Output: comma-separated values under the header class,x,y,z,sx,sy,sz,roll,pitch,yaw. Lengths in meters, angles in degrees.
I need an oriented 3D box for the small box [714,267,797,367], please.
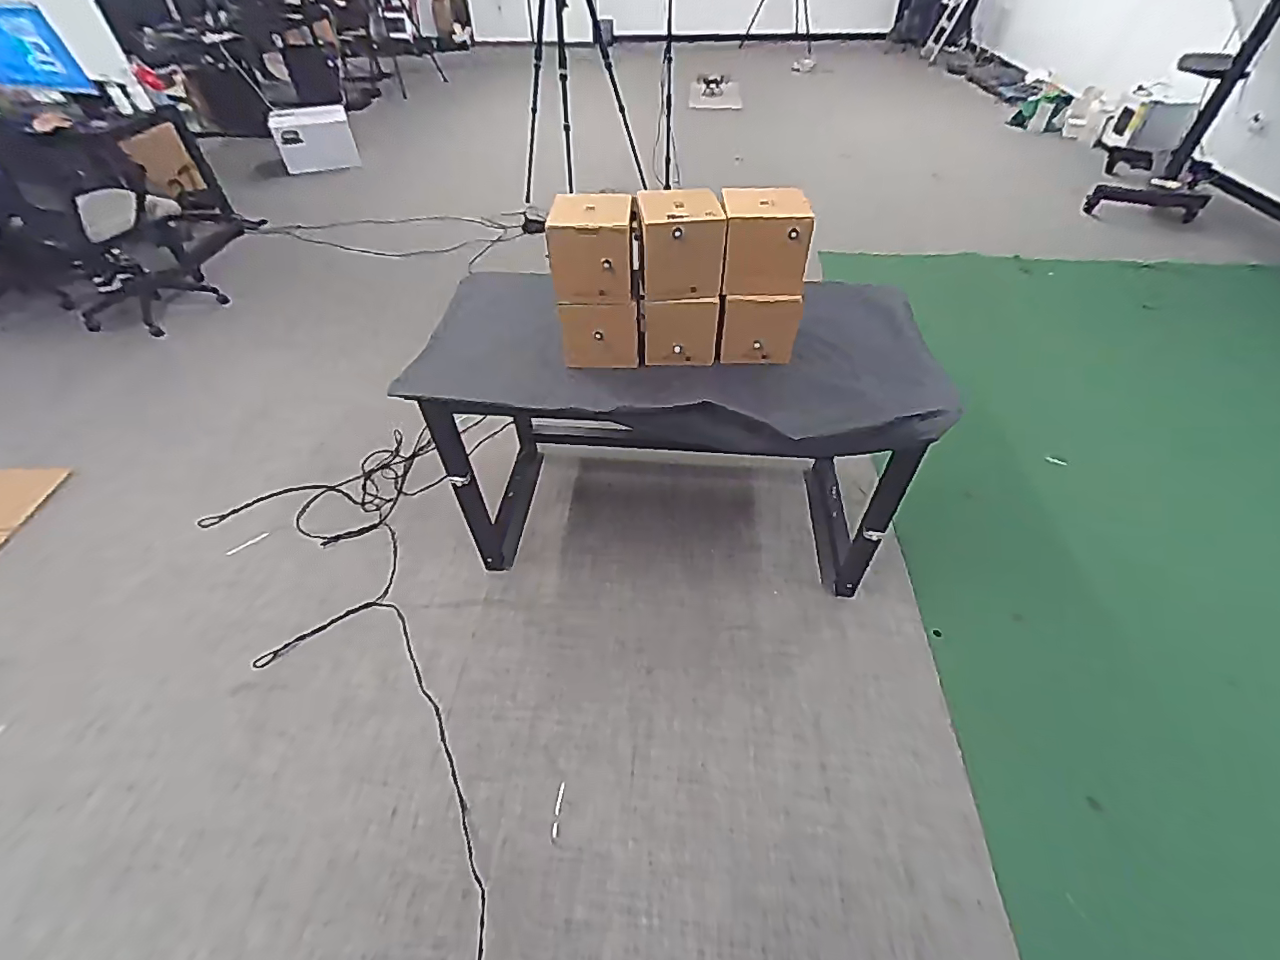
class,x,y,z,sx,sy,sz,roll,pitch,yaw
small box,0.268,-0.391,1.295,0.168,0.176,0.179,1,47,3
